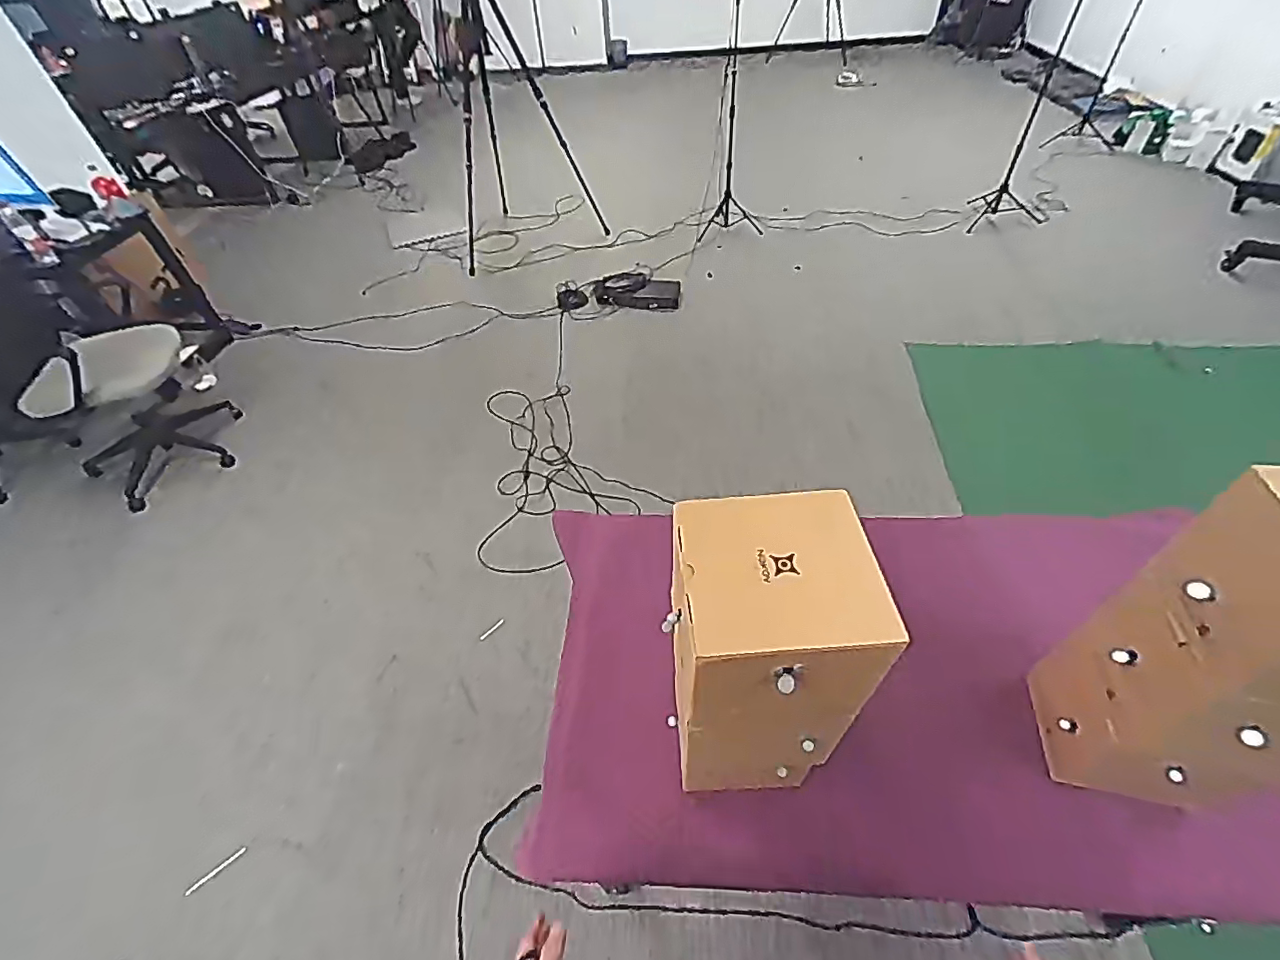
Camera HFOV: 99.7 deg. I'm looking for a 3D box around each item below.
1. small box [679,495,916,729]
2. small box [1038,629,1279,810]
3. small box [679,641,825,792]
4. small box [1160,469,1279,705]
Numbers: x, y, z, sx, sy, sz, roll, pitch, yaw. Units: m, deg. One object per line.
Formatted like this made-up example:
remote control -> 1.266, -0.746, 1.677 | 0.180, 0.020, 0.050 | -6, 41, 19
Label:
small box -> 0.133, 0.134, 0.539 | 0.179, 0.176, 0.168 | -5, 48, 0
small box -> 0.693, 0.336, 0.754 | 0.179, 0.176, 0.168 | 9, 49, 12
small box -> 0.149, 0.344, 0.791 | 0.179, 0.176, 0.168 | -4, 47, 2
small box -> 0.674, 0.112, 0.515 | 0.179, 0.176, 0.168 | 5, 48, 10
